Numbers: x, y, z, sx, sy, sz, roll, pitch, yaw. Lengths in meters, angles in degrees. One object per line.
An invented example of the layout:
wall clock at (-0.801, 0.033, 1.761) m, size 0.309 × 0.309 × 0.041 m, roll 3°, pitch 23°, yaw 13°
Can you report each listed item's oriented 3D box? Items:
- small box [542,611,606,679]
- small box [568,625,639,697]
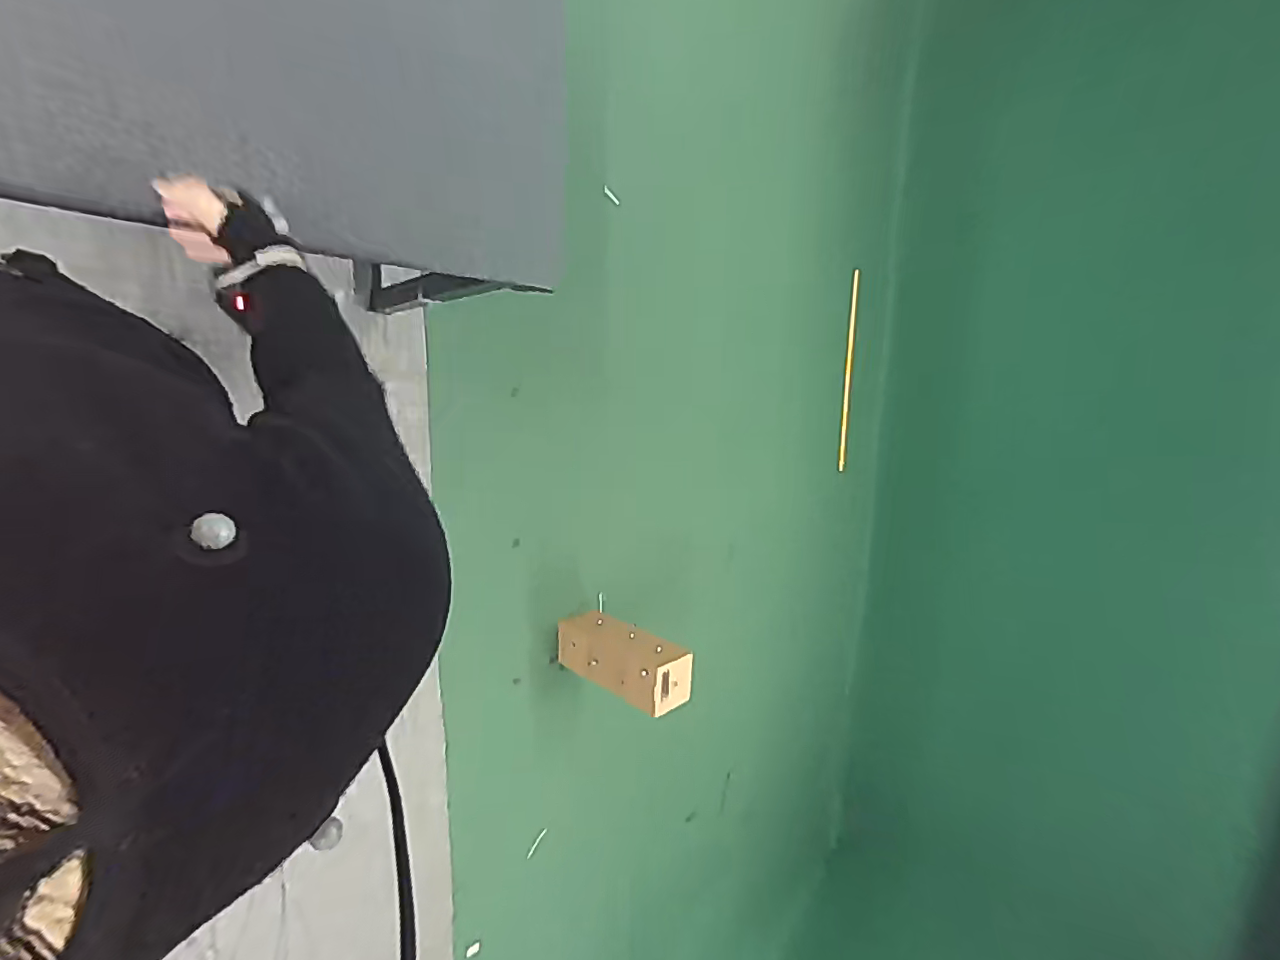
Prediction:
small box at (-0.246, 0.603, 1.994) m, size 0.179 × 0.176 × 0.168 m, roll -7°, pitch 103°, yaw -47°
small box at (-0.126, 0.622, 1.882) m, size 0.179 × 0.176 × 0.168 m, roll -3°, pitch 99°, yaw -47°
